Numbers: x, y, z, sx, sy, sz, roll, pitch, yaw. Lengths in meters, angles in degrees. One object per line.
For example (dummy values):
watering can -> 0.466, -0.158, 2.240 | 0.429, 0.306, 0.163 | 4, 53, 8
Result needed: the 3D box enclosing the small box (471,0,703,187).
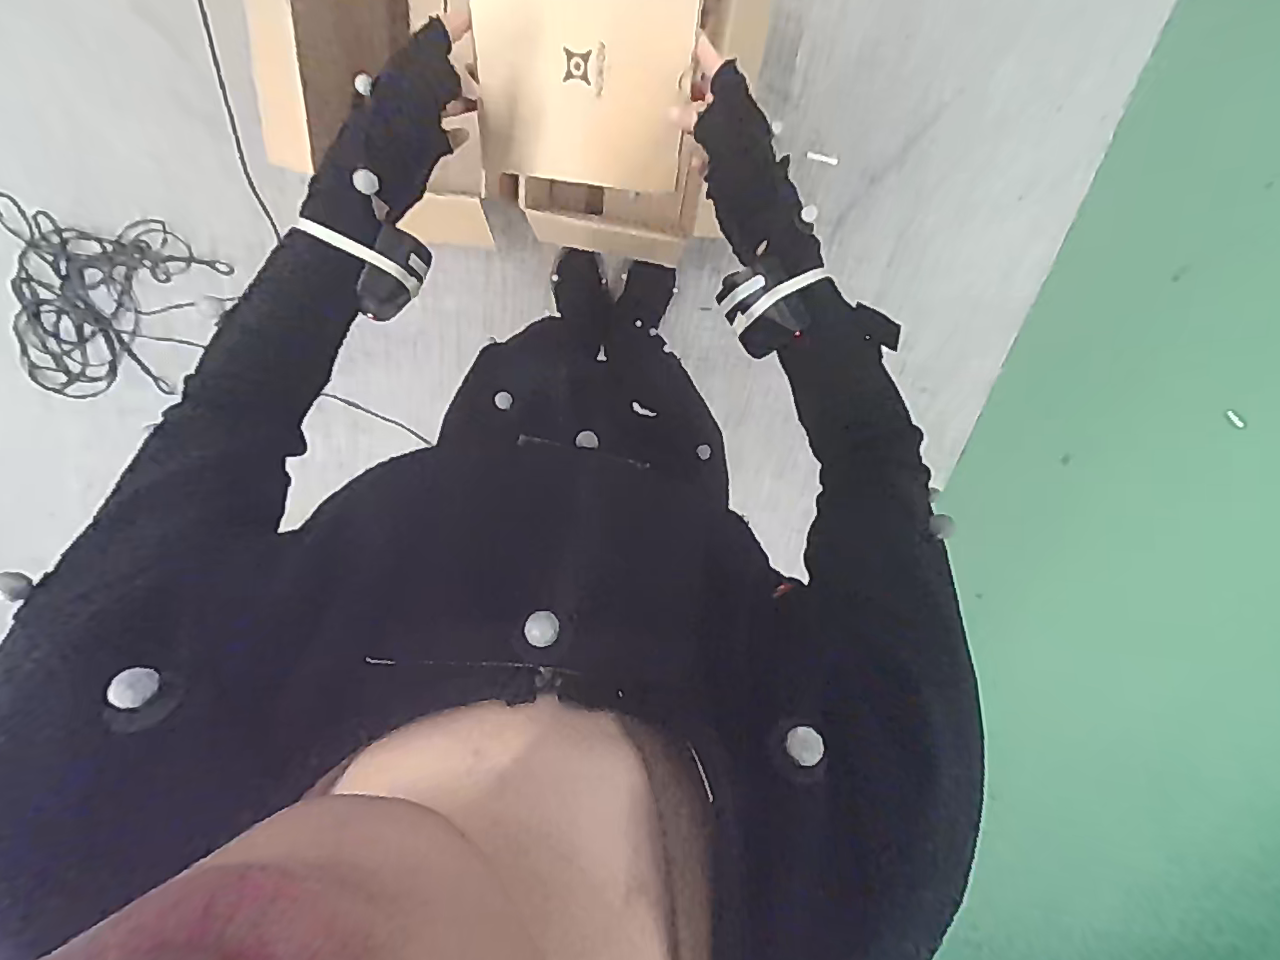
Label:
small box -> -0.040, -0.383, 0.489 | 0.179, 0.176, 0.168 | 6, 131, -2
